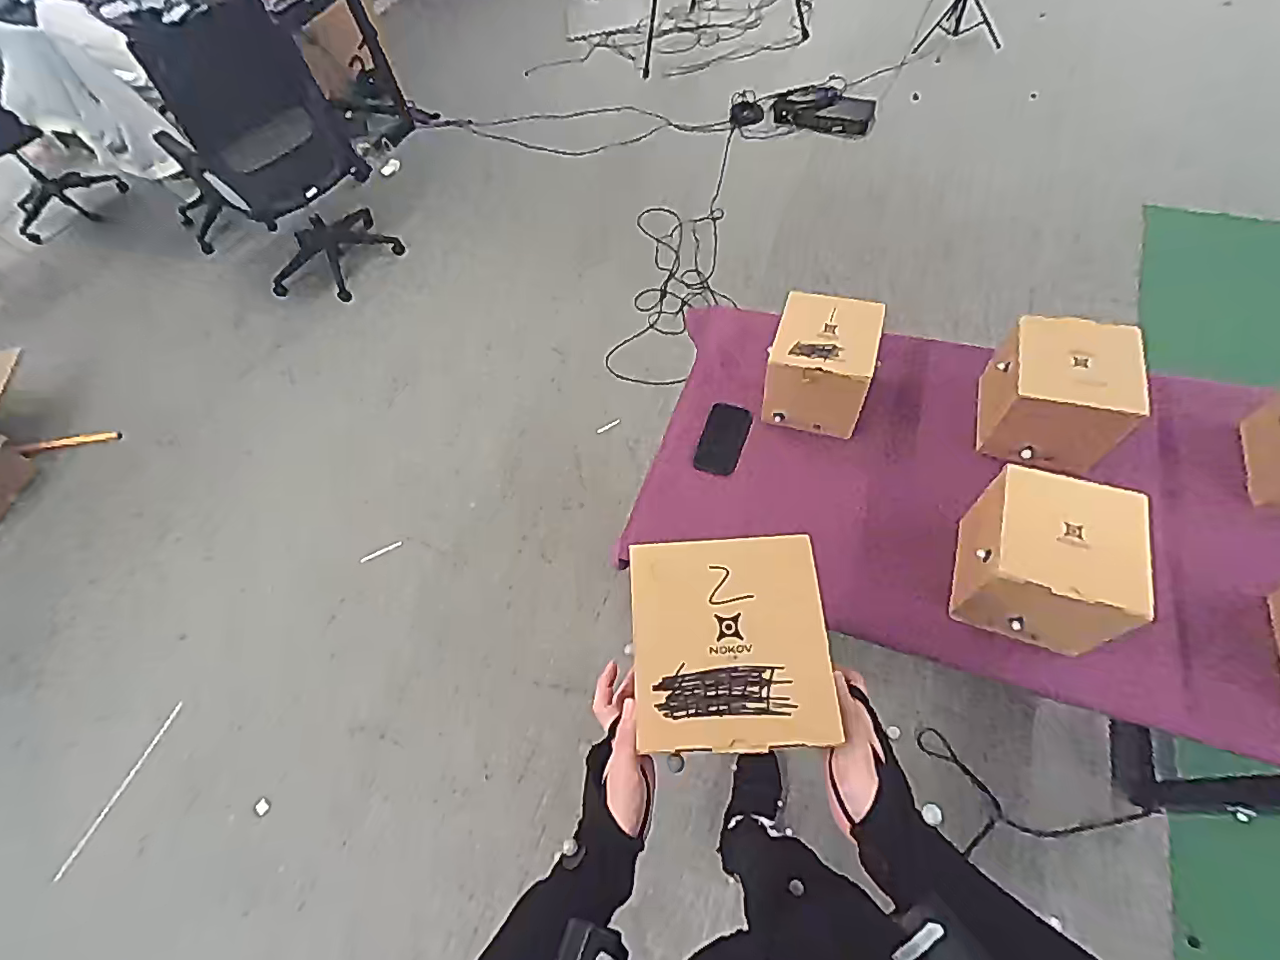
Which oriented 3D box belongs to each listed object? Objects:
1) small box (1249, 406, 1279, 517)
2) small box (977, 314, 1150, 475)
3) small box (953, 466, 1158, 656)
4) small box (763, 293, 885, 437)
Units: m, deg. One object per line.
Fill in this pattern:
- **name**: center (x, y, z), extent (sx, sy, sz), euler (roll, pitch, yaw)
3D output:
- **small box**: center (1.029, -0.042, 0.762), extent (0.168, 0.176, 0.179), euler (15, 62, 18)
- **small box**: center (0.669, -0.135, 0.875), extent (0.168, 0.176, 0.179), euler (14, 63, 17)
- **small box**: center (0.551, 0.114, 0.739), extent (0.168, 0.176, 0.179), euler (16, 61, 17)
- **small box**: center (0.320, -0.200, 0.964), extent (0.168, 0.176, 0.179), euler (14, 62, 16)
